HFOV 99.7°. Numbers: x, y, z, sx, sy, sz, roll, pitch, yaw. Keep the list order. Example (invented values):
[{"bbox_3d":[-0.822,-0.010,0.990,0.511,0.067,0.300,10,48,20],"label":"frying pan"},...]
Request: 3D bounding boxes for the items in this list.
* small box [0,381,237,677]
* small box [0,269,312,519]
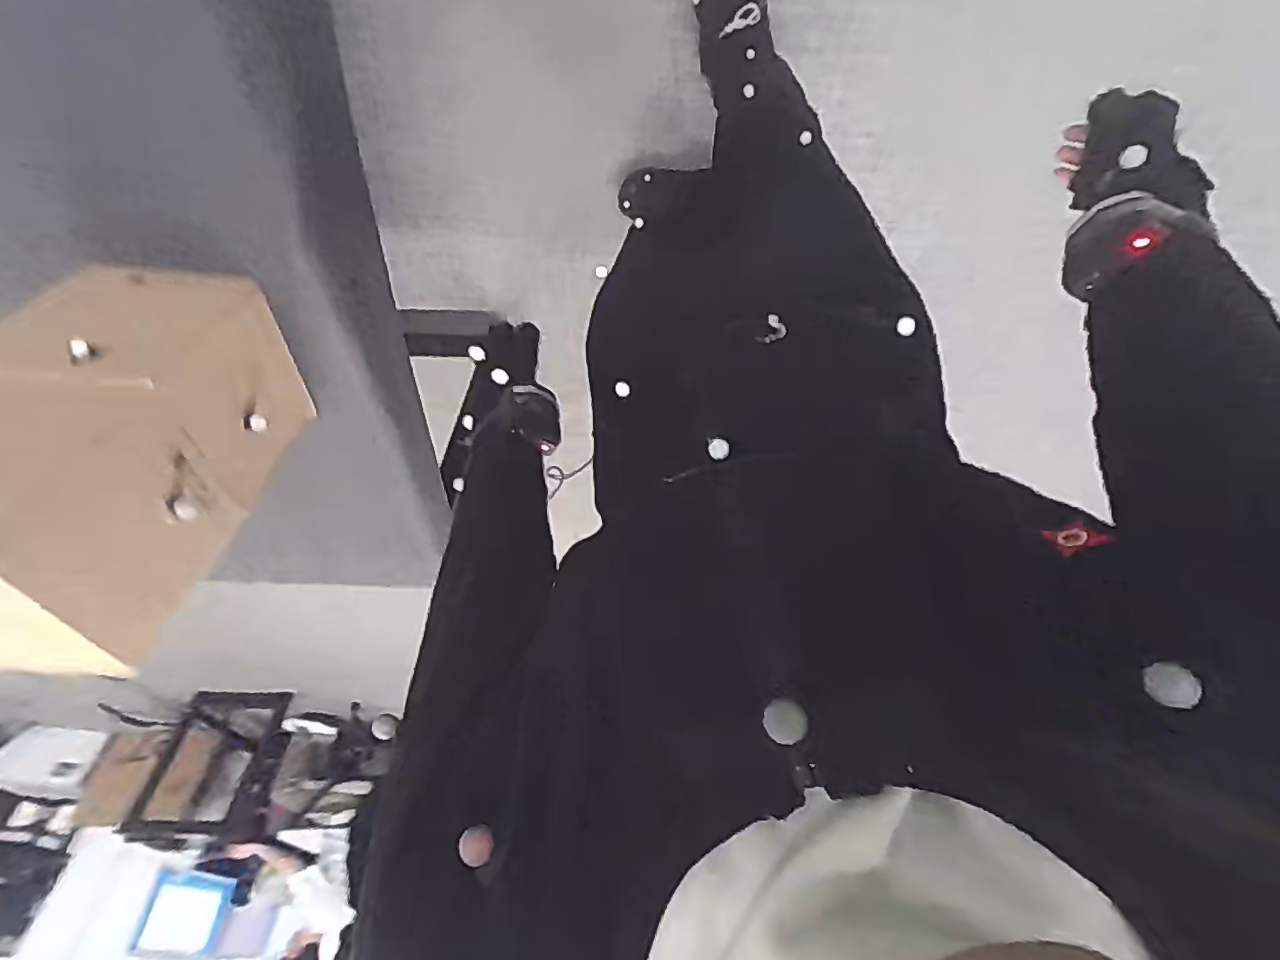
[{"bbox_3d":[-0.484,0.036,0.433,0.179,0.176,0.168,5,136,-2],"label":"small box"},{"bbox_3d":[-0.471,-0.084,0.545,0.168,0.176,0.179,5,137,-2],"label":"small box"}]
